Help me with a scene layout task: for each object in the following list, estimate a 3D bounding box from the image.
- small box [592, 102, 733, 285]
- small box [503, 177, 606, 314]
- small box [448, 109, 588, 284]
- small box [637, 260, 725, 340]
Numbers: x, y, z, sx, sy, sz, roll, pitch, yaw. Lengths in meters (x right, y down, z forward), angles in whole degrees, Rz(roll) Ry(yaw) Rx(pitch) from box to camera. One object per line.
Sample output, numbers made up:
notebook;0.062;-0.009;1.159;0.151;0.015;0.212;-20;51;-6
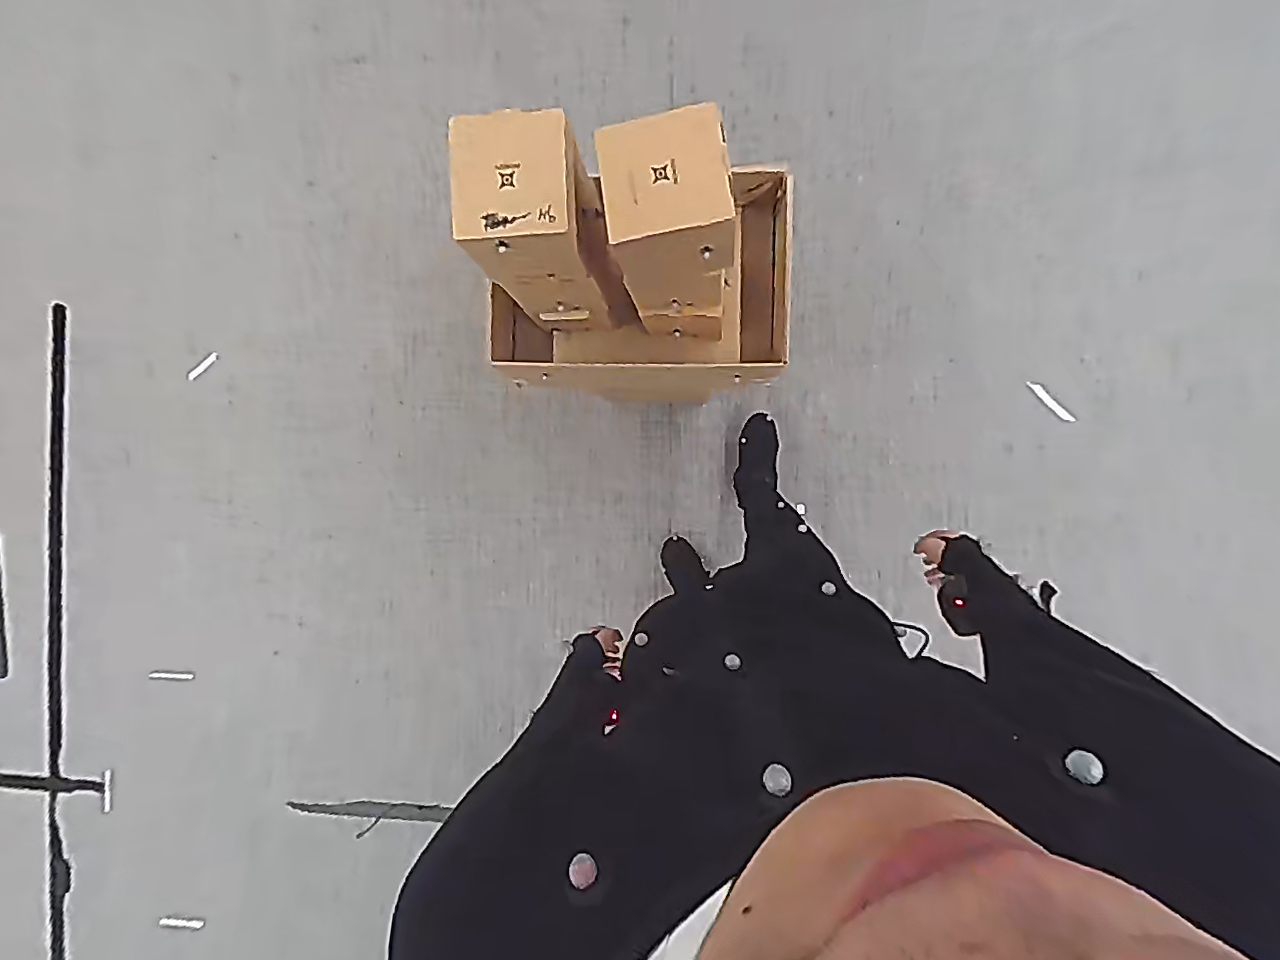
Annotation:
small box;0.040;-0.412;0.808;0.179;0.176;0.168;-8;88;9
small box;-0.156;-0.418;0.988;0.168;0.176;0.179;-2;90;5
small box;-0.177;-0.419;0.823;0.168;0.176;0.179;-1;89;6
small box;0.091;-0.404;1.131;0.168;0.176;0.179;3;91;9
